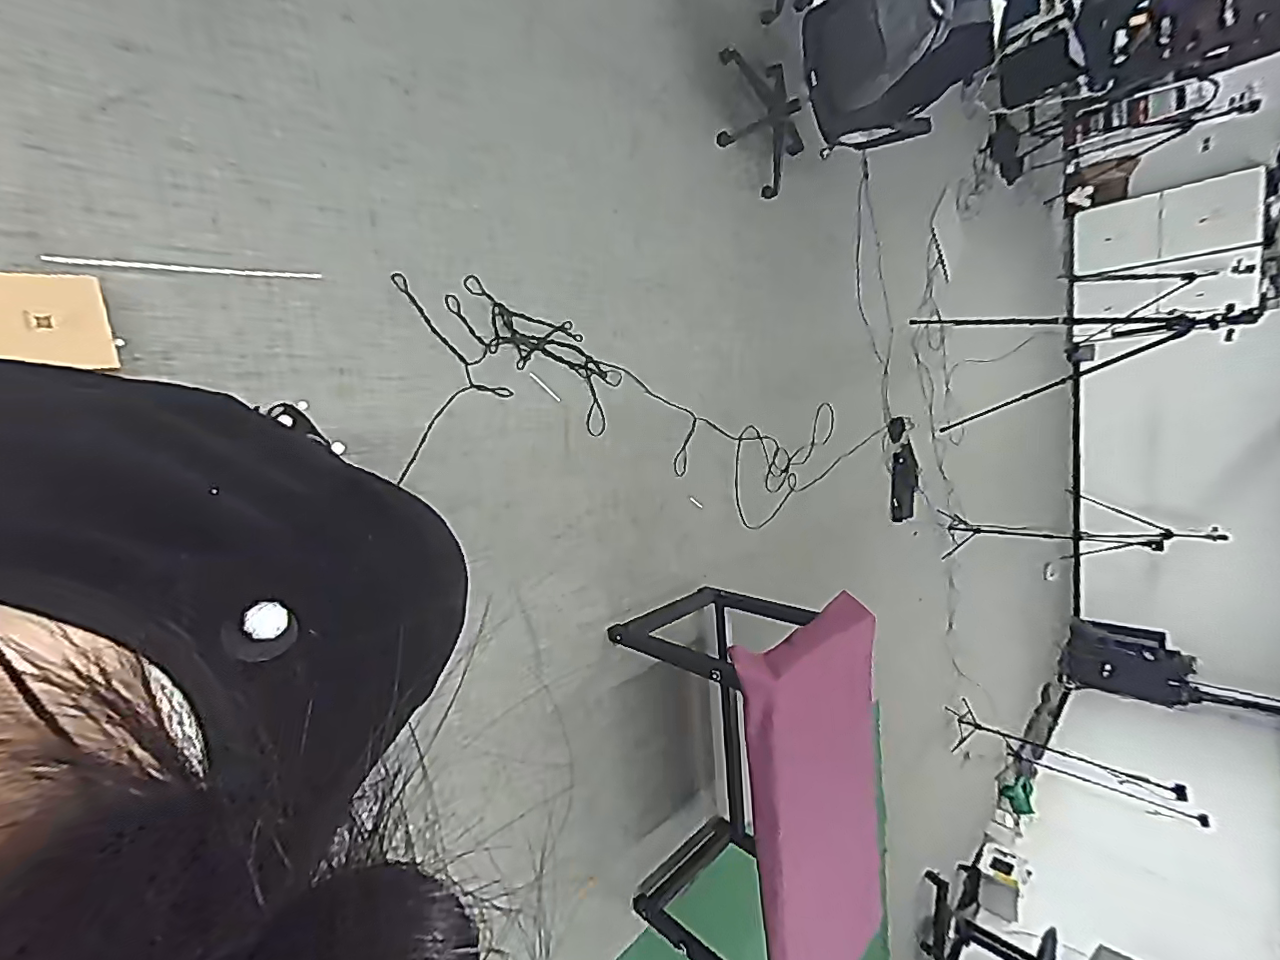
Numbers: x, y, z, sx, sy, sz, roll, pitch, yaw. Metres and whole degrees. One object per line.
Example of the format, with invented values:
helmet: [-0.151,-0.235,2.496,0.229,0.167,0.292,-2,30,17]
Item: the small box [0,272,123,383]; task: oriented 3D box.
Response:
small box: [-1.080,-0.271,0.984,0.179,0.176,0.168,-15,102,-42]
